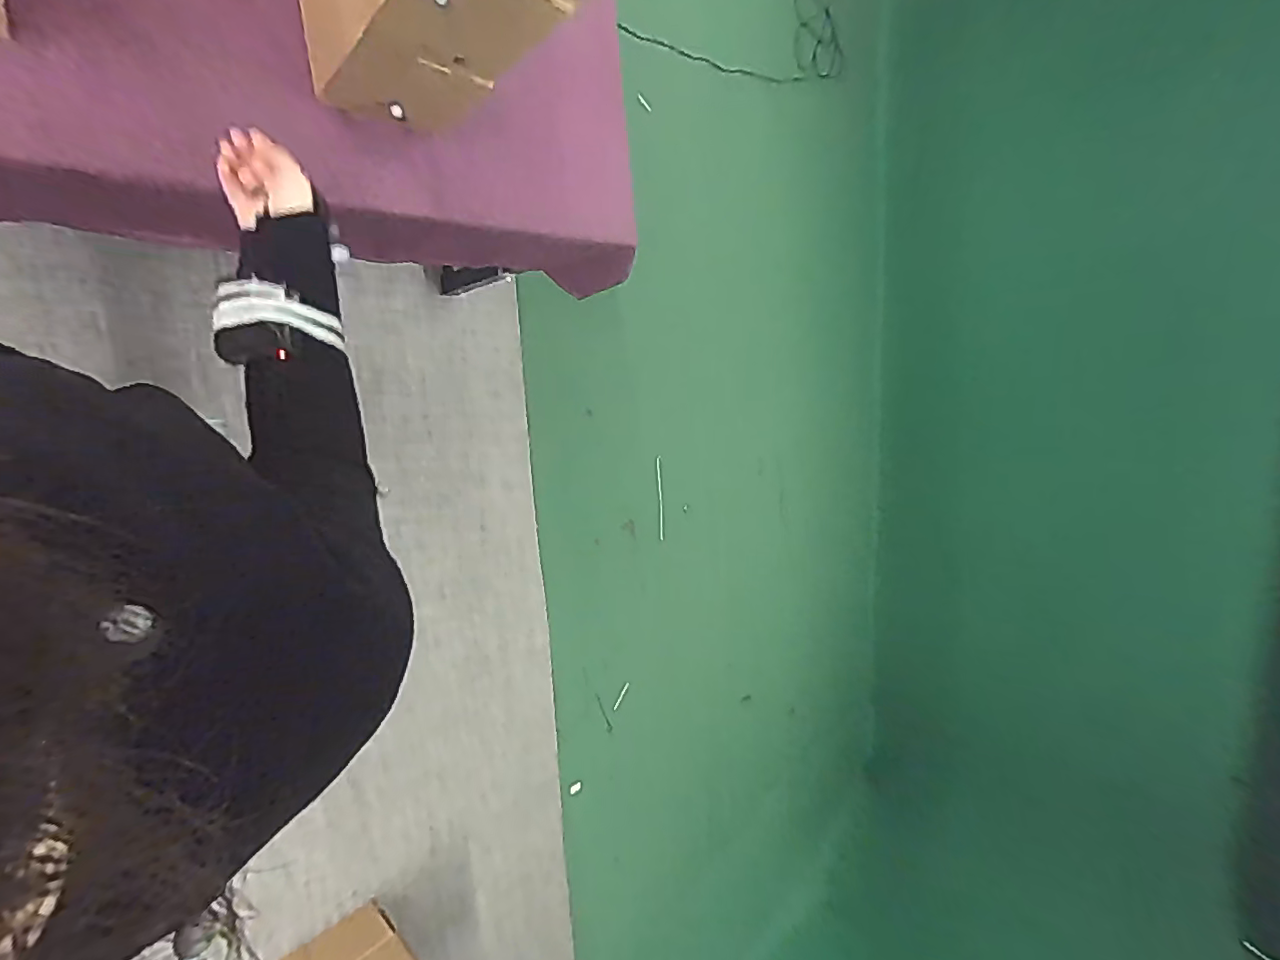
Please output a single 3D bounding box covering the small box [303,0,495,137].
[{"bbox_3d":[-0.309,-0.578,0.686,0.168,0.176,0.179,-14,104,-44],"label":"small box"}]
